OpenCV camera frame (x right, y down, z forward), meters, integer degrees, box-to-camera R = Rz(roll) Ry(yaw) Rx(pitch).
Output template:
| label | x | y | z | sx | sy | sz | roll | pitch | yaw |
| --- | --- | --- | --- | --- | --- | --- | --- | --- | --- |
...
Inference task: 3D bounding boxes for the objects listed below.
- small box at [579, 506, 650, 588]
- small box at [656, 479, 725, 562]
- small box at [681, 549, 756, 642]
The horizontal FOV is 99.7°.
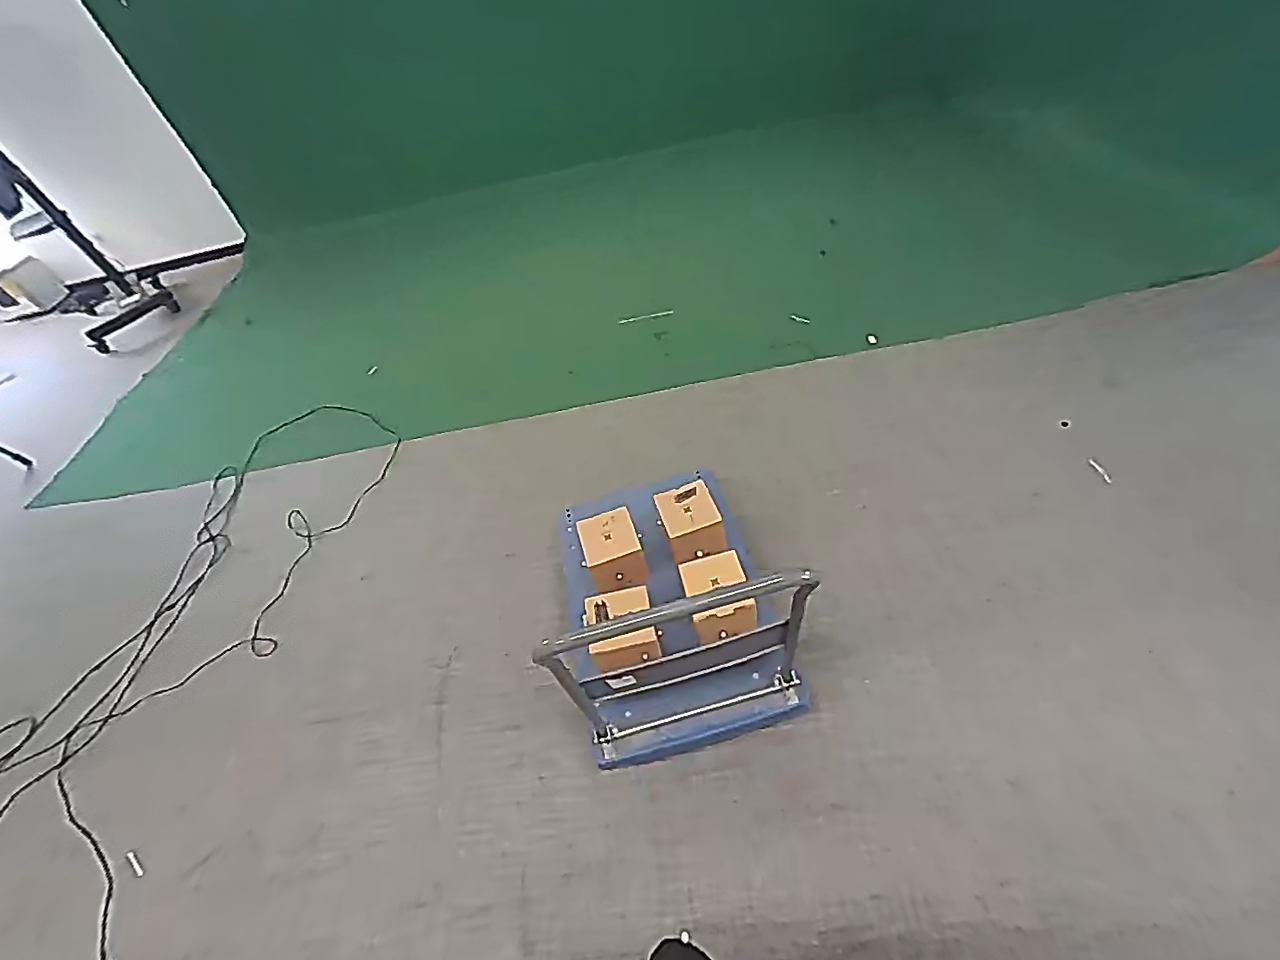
| label | x | y | z | sx | sy | sz | roll | pitch | yaw |
| --- | --- | --- | --- | --- | --- | --- | --- | --- | --- |
| small box | -0.078 | 0.215 | 1.686 | 0.168 | 0.176 | 0.179 | -18 | 48 | -4 |
| small box | 0.160 | 0.133 | 1.701 | 0.168 | 0.176 | 0.179 | -19 | 49 | -2 |
| small box | 0.219 | 0.326 | 1.521 | 0.168 | 0.176 | 0.179 | -15 | 48 | 0 |
